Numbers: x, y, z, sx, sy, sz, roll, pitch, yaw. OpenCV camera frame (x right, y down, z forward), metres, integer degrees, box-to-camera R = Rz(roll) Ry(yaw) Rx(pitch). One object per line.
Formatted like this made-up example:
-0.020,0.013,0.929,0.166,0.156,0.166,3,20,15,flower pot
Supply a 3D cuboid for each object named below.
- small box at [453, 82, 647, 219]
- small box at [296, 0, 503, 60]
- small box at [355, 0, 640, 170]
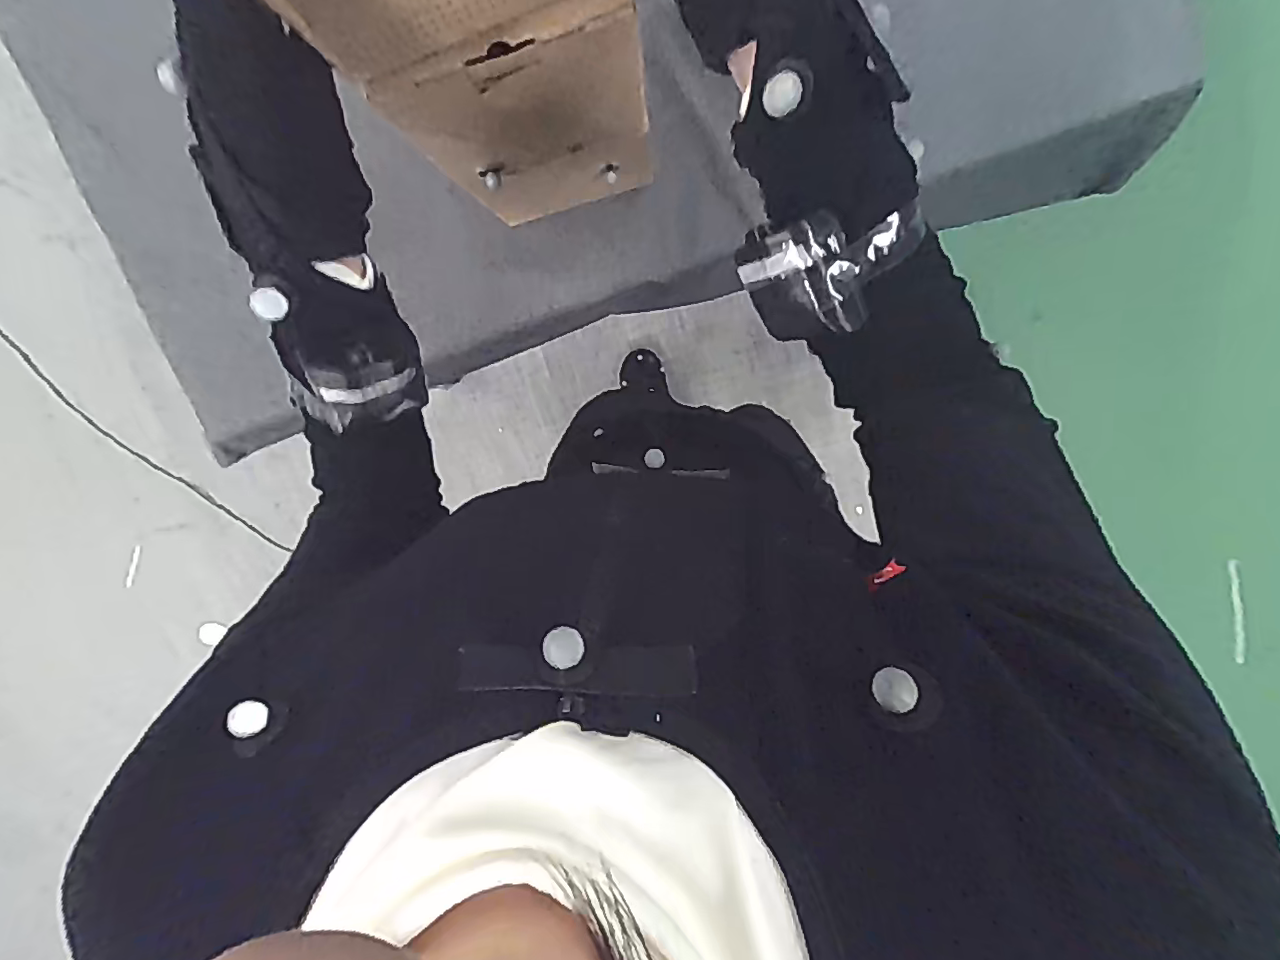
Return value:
-0.094,-0.383,0.531,0.179,0.176,0.168,-14,100,7,small box
-0.111,-0.314,0.203,0.179,0.176,0.168,-22,101,6,small box
-0.103,-0.342,0.372,0.168,0.176,0.179,-18,101,7,small box
